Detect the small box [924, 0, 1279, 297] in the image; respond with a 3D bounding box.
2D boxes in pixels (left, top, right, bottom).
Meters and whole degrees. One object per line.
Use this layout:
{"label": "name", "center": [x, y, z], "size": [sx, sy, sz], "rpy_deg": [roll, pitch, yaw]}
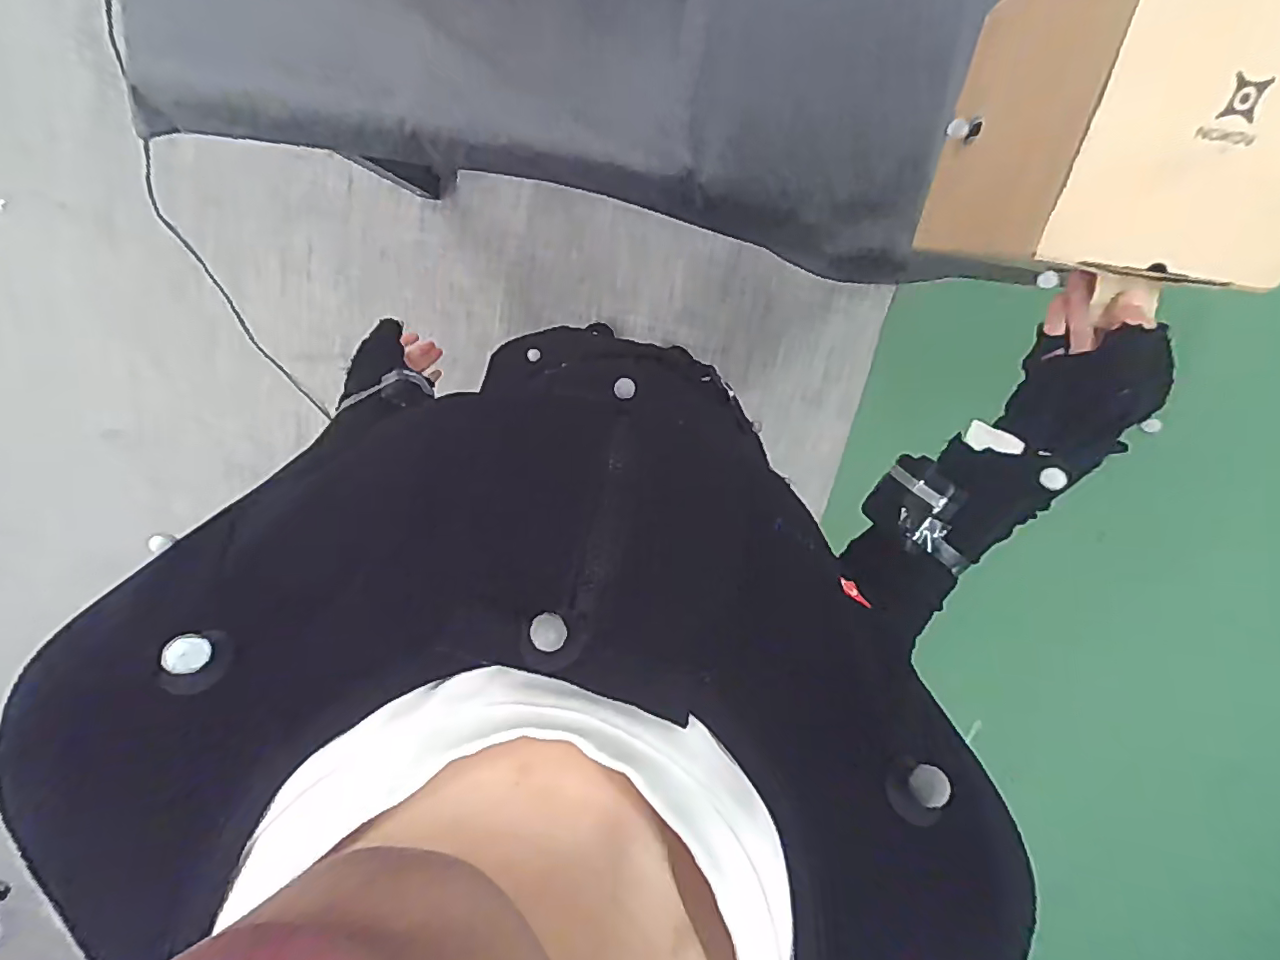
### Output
{"label": "small box", "center": [0.335, -0.241, 0.382], "size": [0.168, 0.176, 0.179], "rpy_deg": [6, 116, -4]}
